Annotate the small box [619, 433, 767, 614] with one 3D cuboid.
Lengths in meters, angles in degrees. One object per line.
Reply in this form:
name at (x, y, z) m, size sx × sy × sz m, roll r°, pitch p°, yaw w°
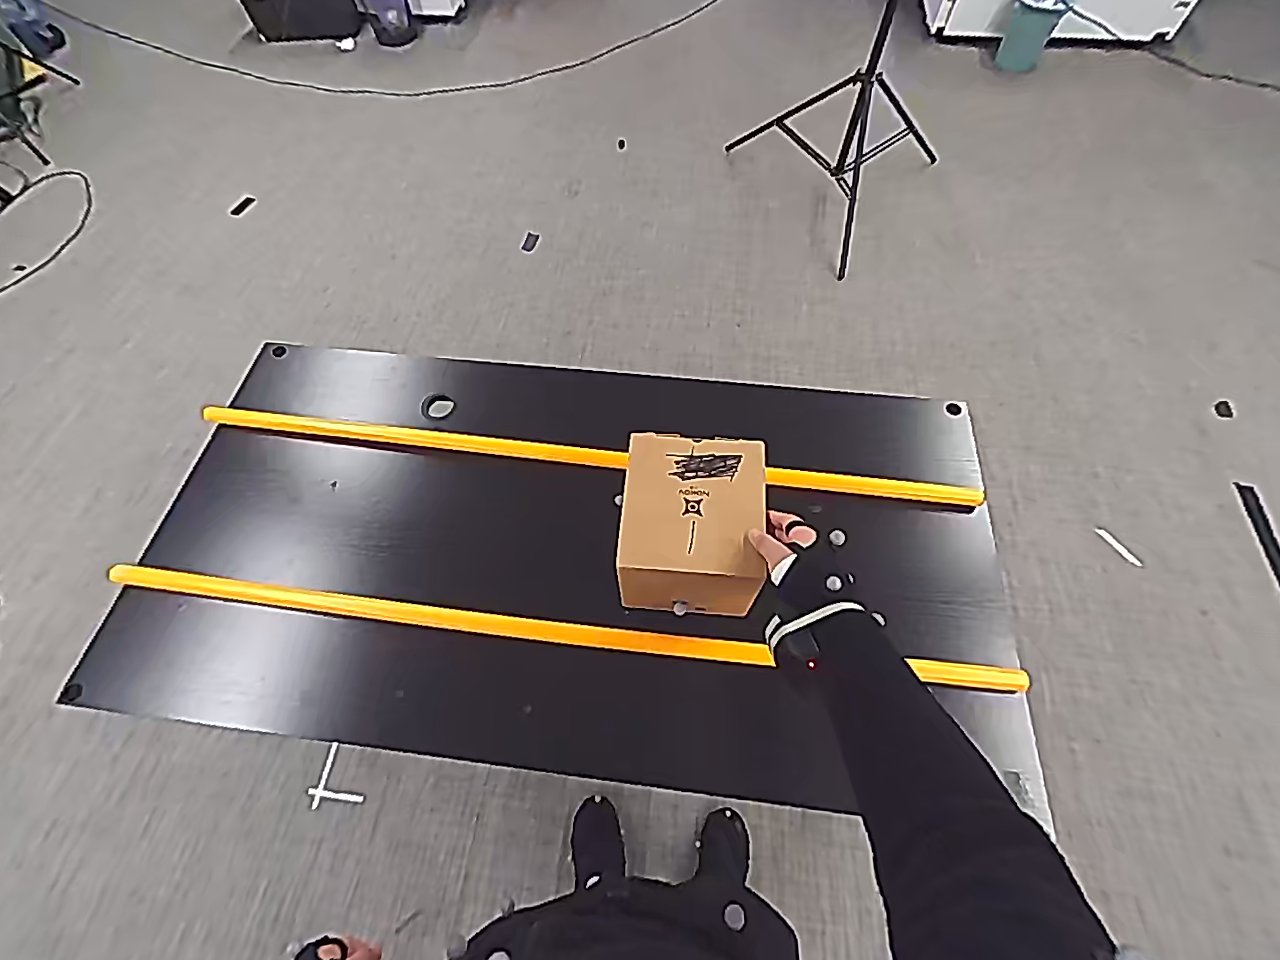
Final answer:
small box at (0.067, 0.061, 0.702) m, size 0.168 × 0.176 × 0.179 m, roll 4°, pitch 62°, yaw 4°
